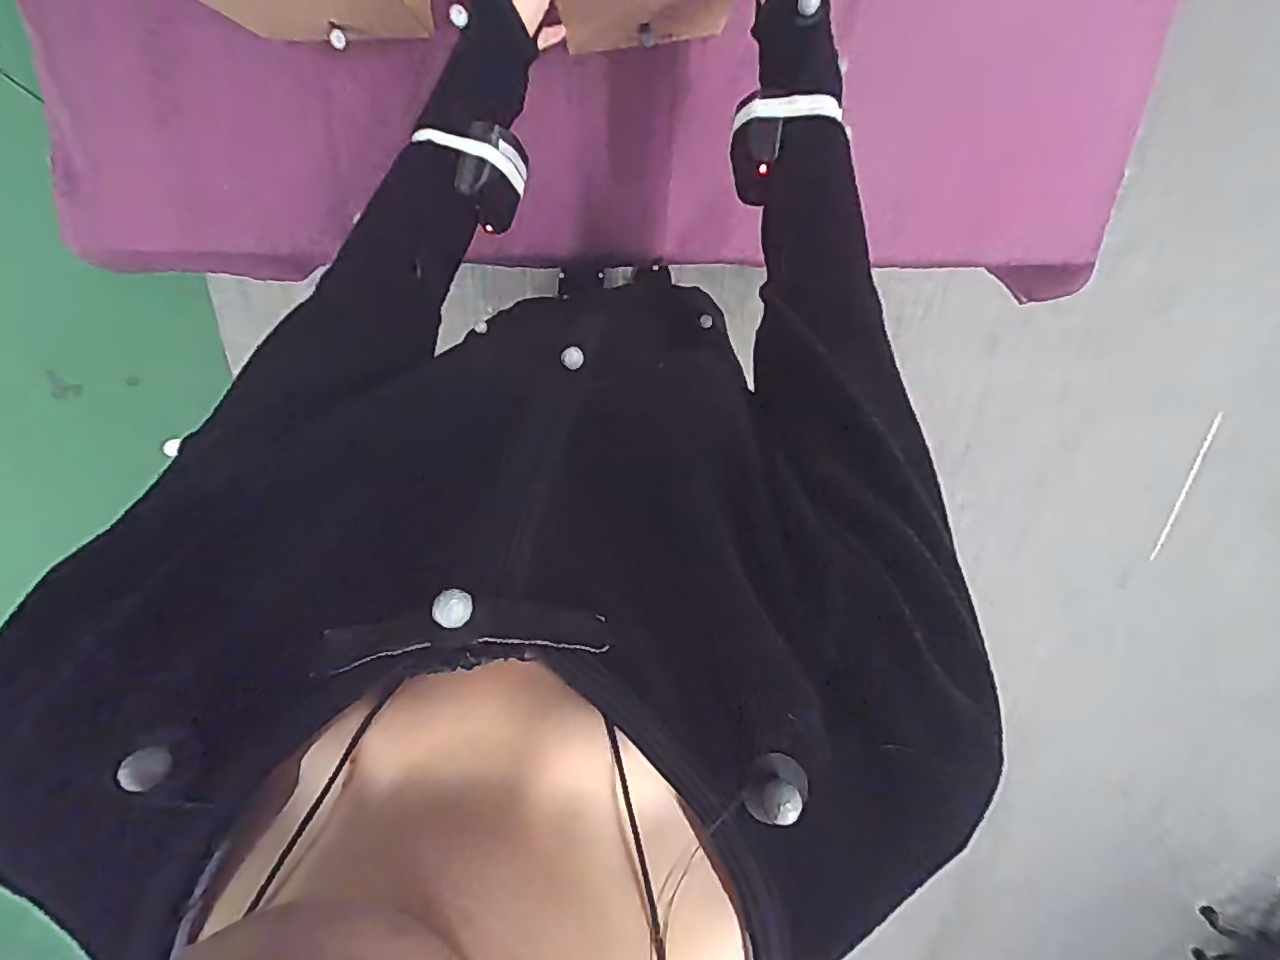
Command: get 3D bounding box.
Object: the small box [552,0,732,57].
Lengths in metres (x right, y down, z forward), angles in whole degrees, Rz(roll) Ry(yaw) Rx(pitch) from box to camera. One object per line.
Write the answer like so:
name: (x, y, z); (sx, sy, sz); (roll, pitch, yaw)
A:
small box: (-0.006, -0.513, 0.478); (0.168, 0.176, 0.179); (-6, 114, 1)

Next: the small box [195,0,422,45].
small box: (-0.305, -0.507, 0.470); (0.179, 0.176, 0.168); (-2, 114, -2)
